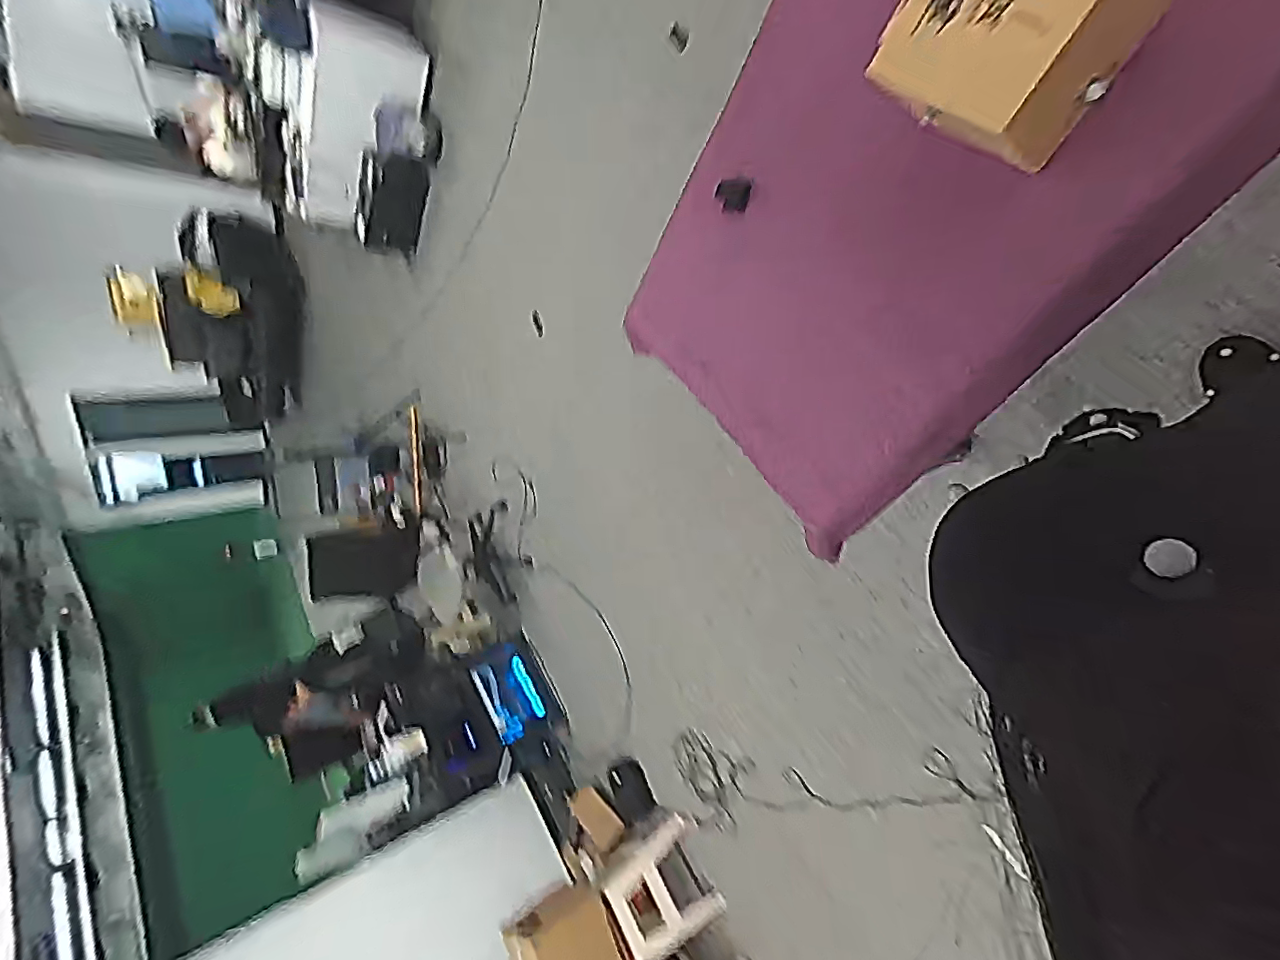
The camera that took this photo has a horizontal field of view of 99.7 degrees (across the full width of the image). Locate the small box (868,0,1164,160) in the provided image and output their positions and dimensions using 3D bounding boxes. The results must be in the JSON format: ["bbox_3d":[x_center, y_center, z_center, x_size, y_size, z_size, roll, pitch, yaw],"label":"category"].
[{"bbox_3d":[0.390,-0.468,0.570,0.179,0.176,0.168,50,132,27],"label":"small box"}]
